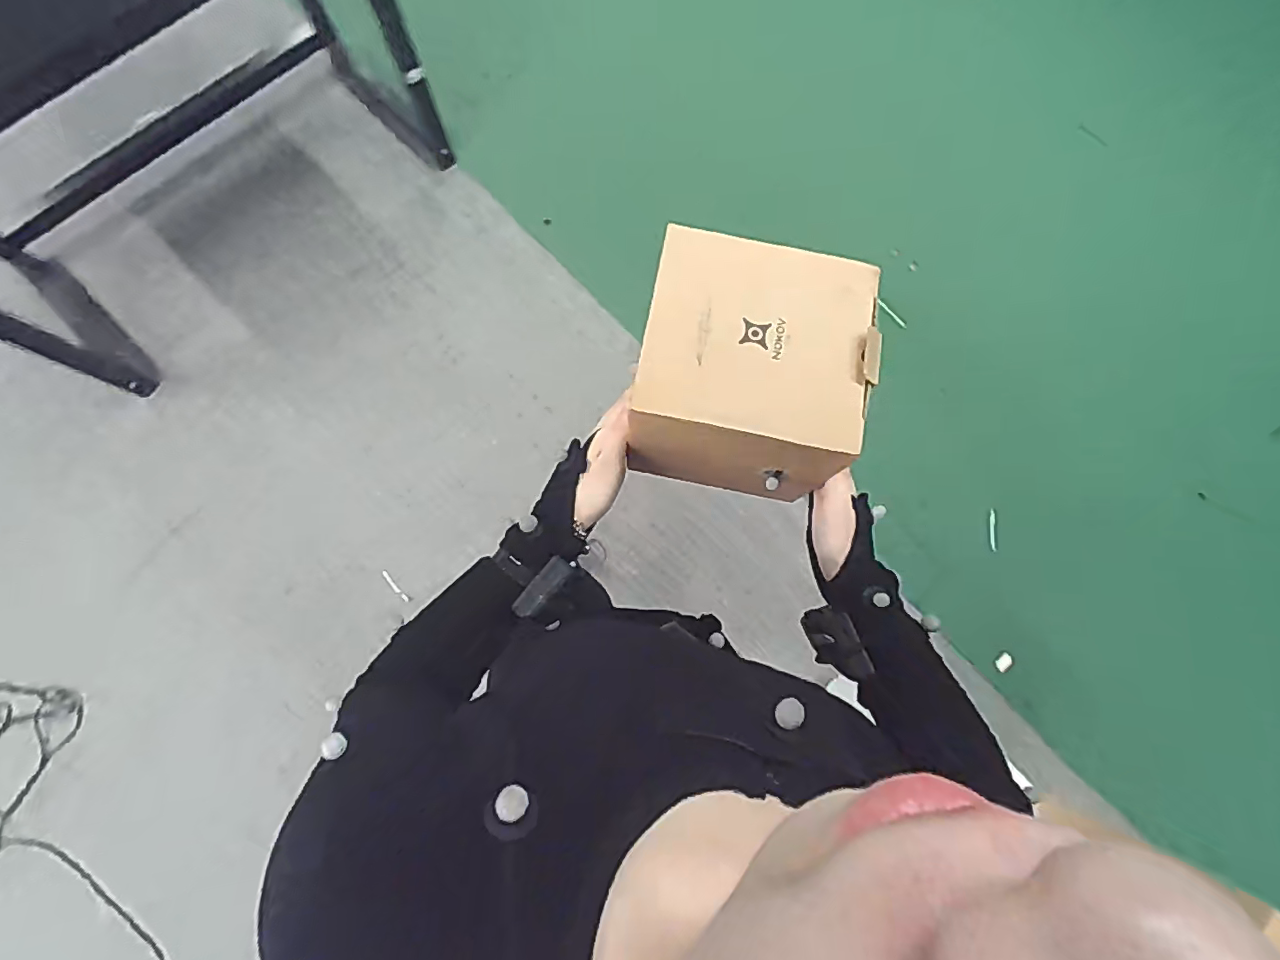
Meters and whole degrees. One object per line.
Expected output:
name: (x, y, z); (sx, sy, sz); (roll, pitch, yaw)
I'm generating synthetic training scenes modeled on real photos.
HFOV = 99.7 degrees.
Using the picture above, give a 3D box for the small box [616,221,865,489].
small box: (0.078, -0.096, 0.493); (0.179, 0.176, 0.168); (10, 75, 1)
